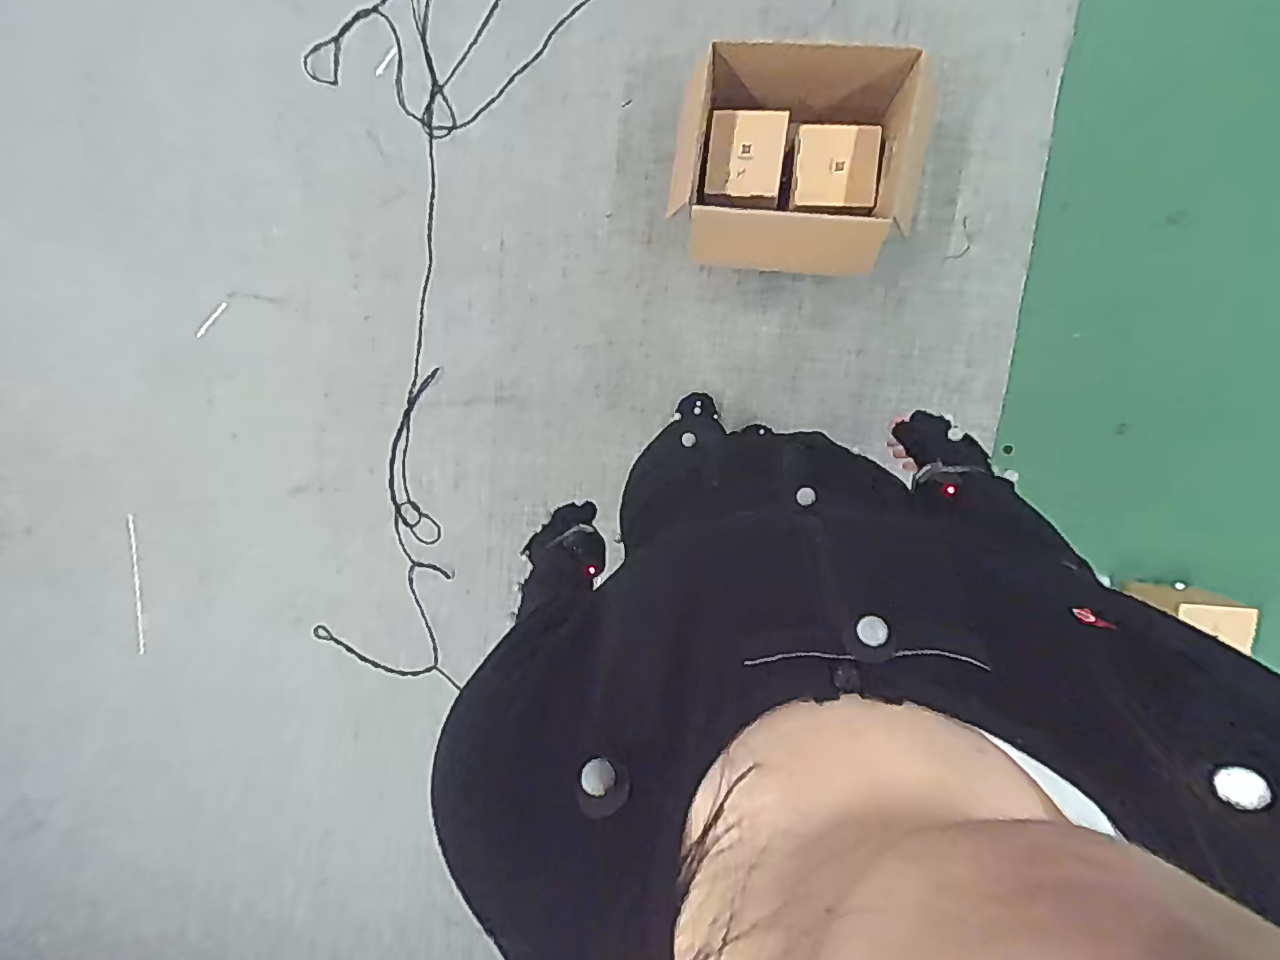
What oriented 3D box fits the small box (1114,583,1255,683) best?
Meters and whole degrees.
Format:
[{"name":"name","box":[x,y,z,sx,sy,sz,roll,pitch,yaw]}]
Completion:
[{"name":"small box","box":[1.312,0.366,1.317,0.168,0.176,0.179,3,98,6]}]
